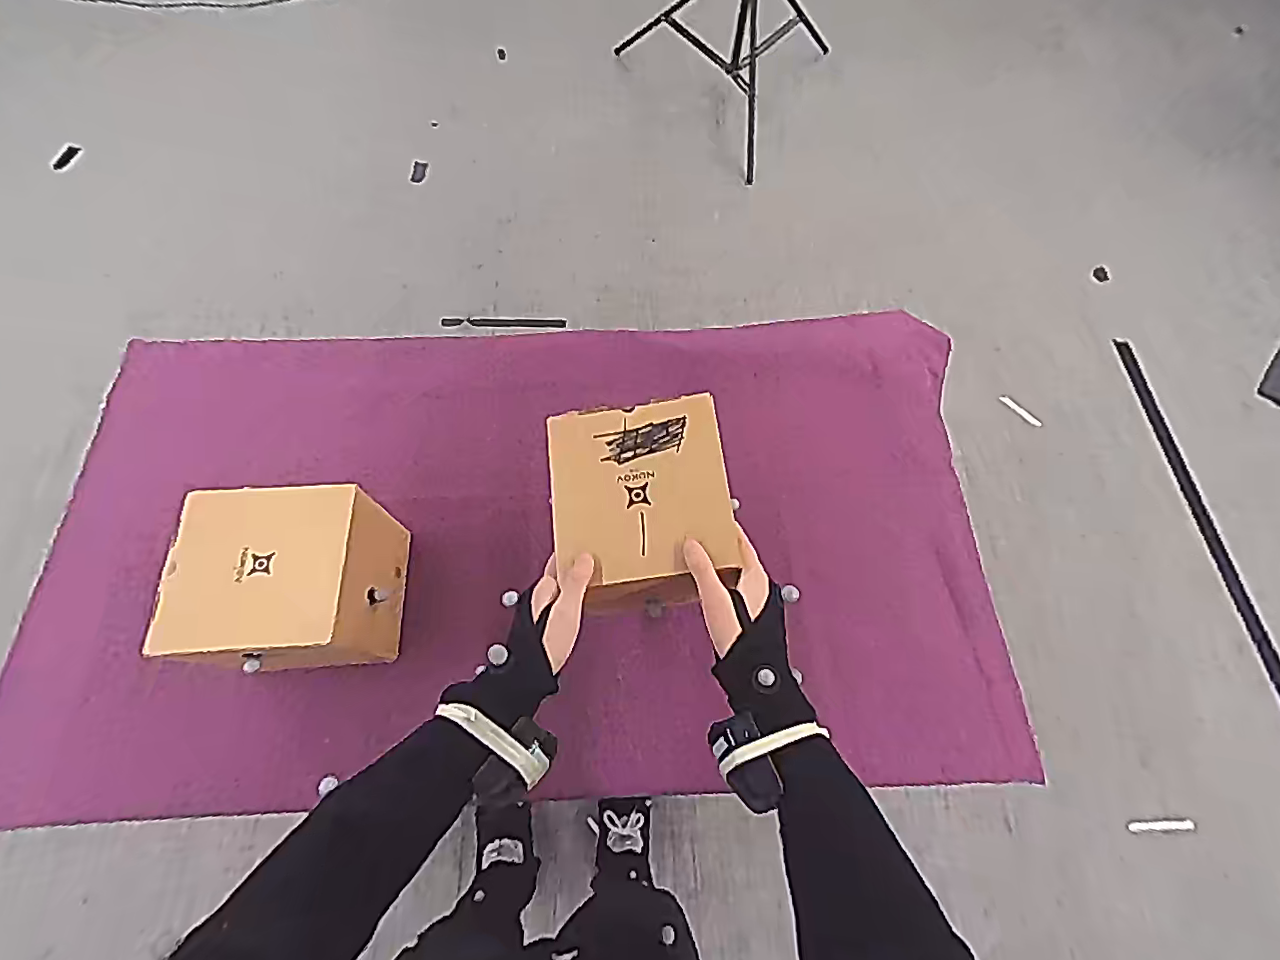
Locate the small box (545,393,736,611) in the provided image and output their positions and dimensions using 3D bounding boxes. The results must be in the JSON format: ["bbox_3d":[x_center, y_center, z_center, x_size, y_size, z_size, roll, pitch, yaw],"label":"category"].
[{"bbox_3d":[0.001,0.033,0.575,0.168,0.176,0.179,-8,69,3],"label":"small box"}]

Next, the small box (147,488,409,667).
[{"bbox_3d":[-0.381,0.117,0.612,0.179,0.176,0.168,-3,67,-2],"label":"small box"}]
